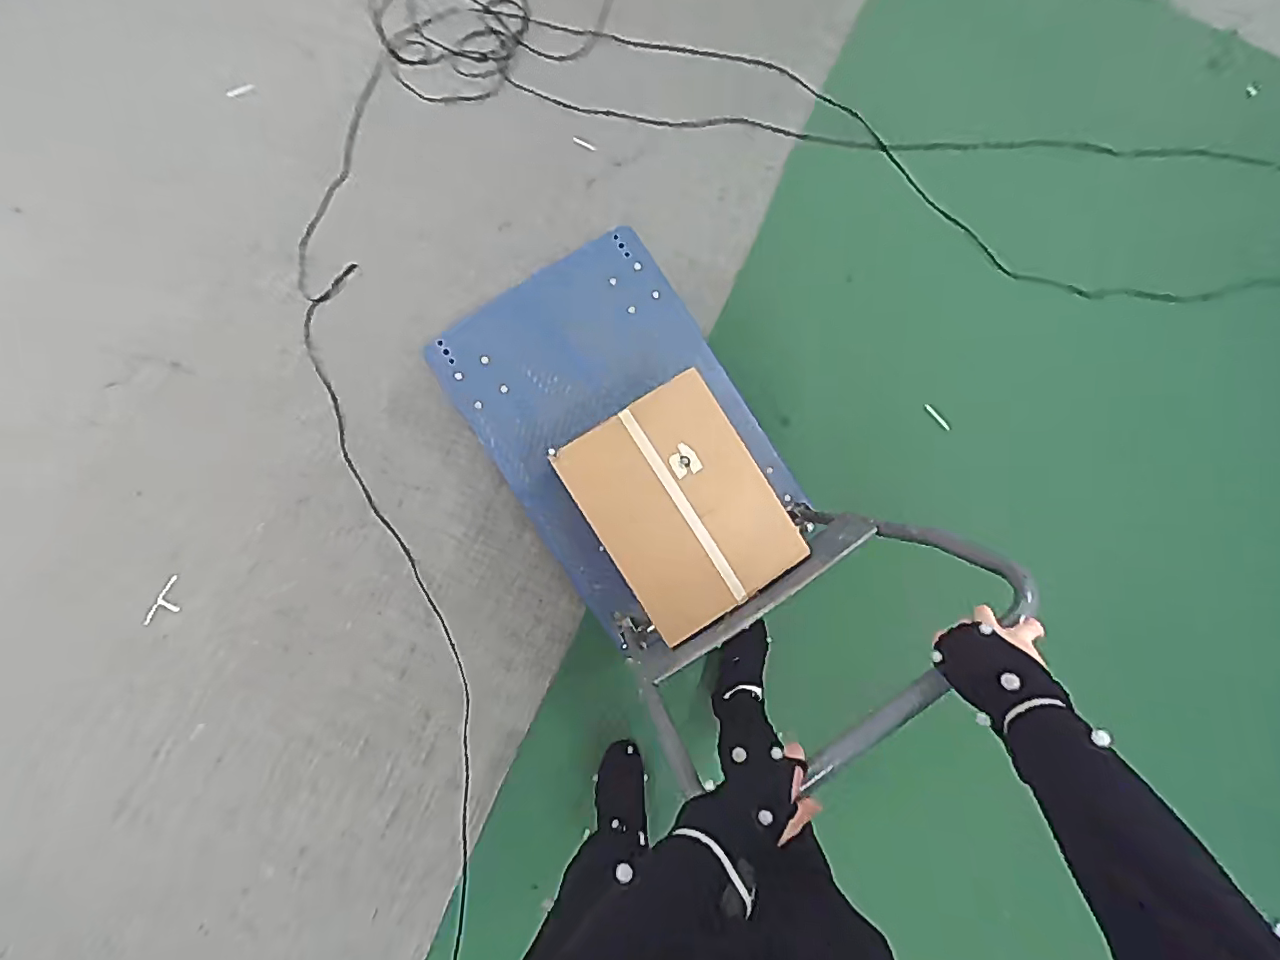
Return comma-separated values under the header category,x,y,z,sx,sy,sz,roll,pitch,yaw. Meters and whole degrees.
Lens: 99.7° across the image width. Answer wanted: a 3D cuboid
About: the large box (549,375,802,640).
category,x,y,z,sx,sy,sz,roll,pitch,yaw
large box,0.061,0.056,1.141,0.320,0.320,0.408,-33,90,-6
